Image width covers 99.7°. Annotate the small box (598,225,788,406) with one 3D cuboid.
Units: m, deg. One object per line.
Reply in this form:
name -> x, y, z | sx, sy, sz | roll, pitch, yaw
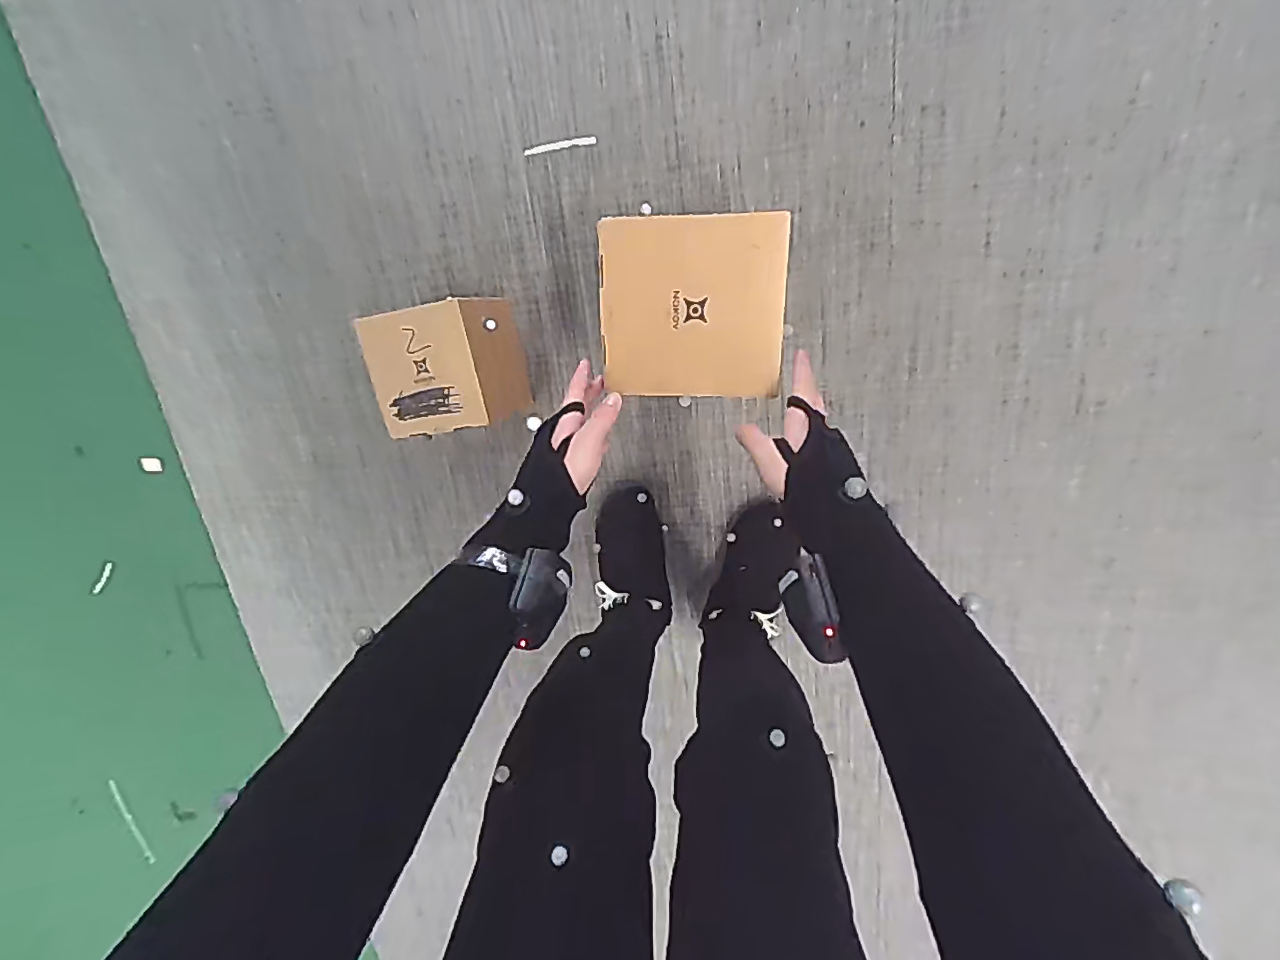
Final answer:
small box -> 0.061, -0.178, 0.589 | 0.179, 0.176, 0.168 | 2, 109, 11
